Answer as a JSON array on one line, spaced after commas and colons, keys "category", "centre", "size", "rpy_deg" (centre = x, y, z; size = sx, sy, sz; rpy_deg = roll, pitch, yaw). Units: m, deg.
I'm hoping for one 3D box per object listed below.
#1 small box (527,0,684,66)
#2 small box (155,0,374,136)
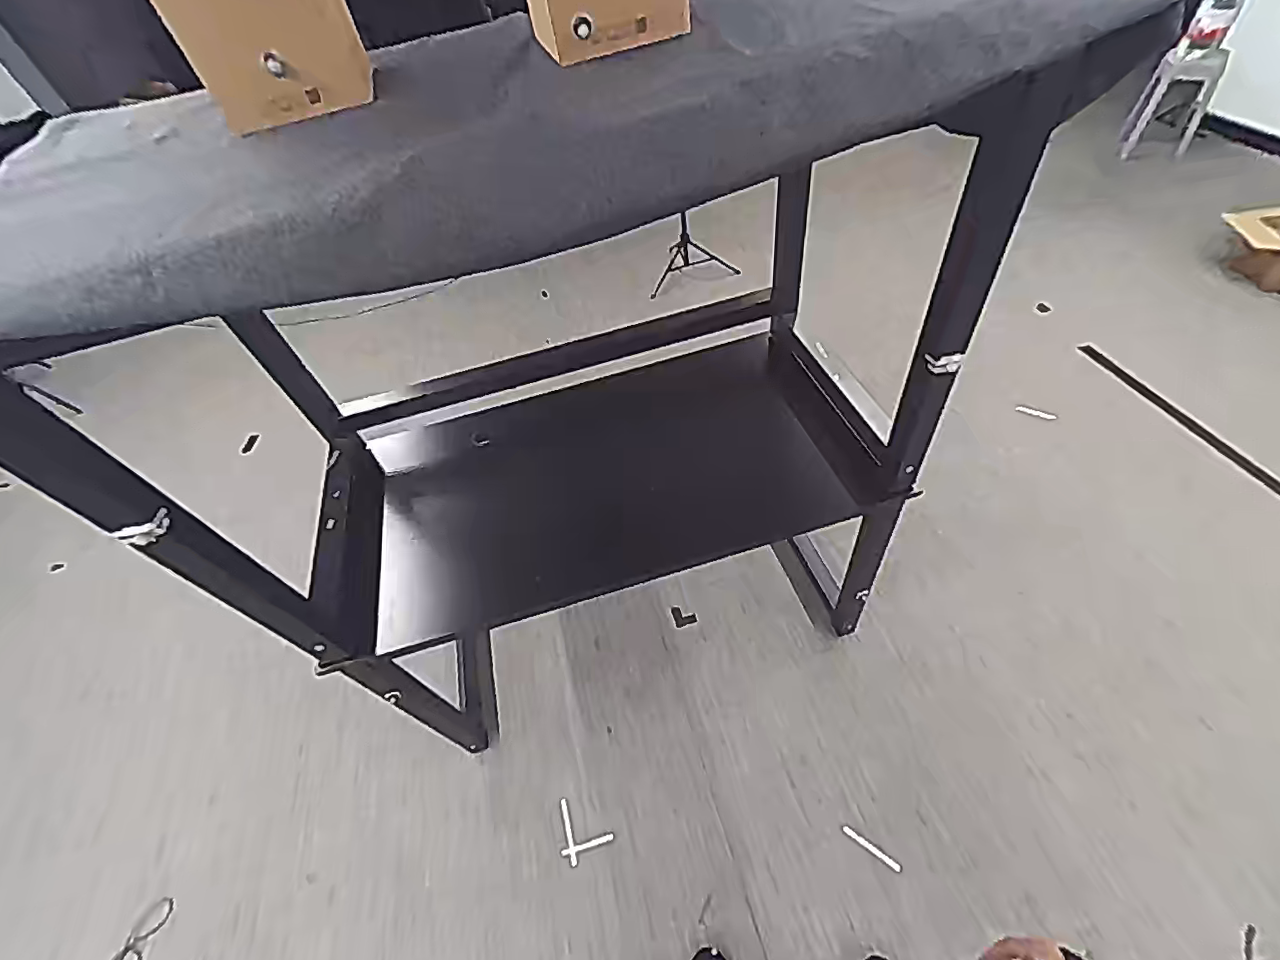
[{"category": "small box", "centre": [-0.054, -0.620, 0.640], "size": [0.168, 0.176, 0.179], "rpy_deg": [-18, 49, -5]}, {"category": "small box", "centre": [-0.437, -0.538, 0.642], "size": [0.168, 0.176, 0.179], "rpy_deg": [-19, 51, -5]}]
